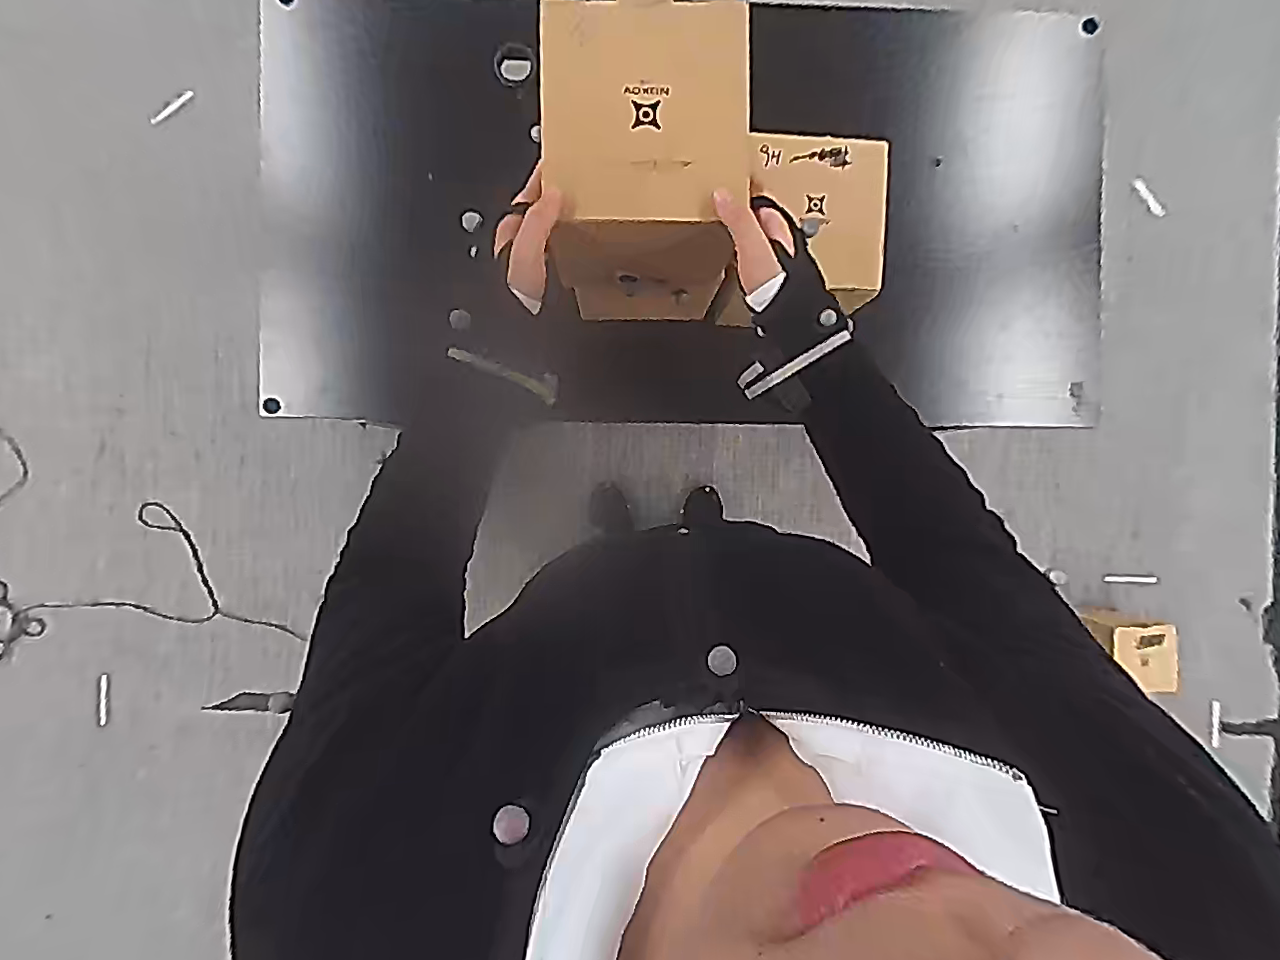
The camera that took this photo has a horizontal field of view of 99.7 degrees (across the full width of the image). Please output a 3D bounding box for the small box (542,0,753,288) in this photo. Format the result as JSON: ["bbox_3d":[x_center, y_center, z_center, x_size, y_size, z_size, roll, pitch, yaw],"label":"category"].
[{"bbox_3d":[0.003,-0.292,0.496,0.168,0.176,0.179,-1,92,-1],"label":"small box"}]

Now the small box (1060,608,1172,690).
[{"bbox_3d":[1.283,0.450,1.468,0.168,0.176,0.179,-2,91,-1],"label":"small box"}]
